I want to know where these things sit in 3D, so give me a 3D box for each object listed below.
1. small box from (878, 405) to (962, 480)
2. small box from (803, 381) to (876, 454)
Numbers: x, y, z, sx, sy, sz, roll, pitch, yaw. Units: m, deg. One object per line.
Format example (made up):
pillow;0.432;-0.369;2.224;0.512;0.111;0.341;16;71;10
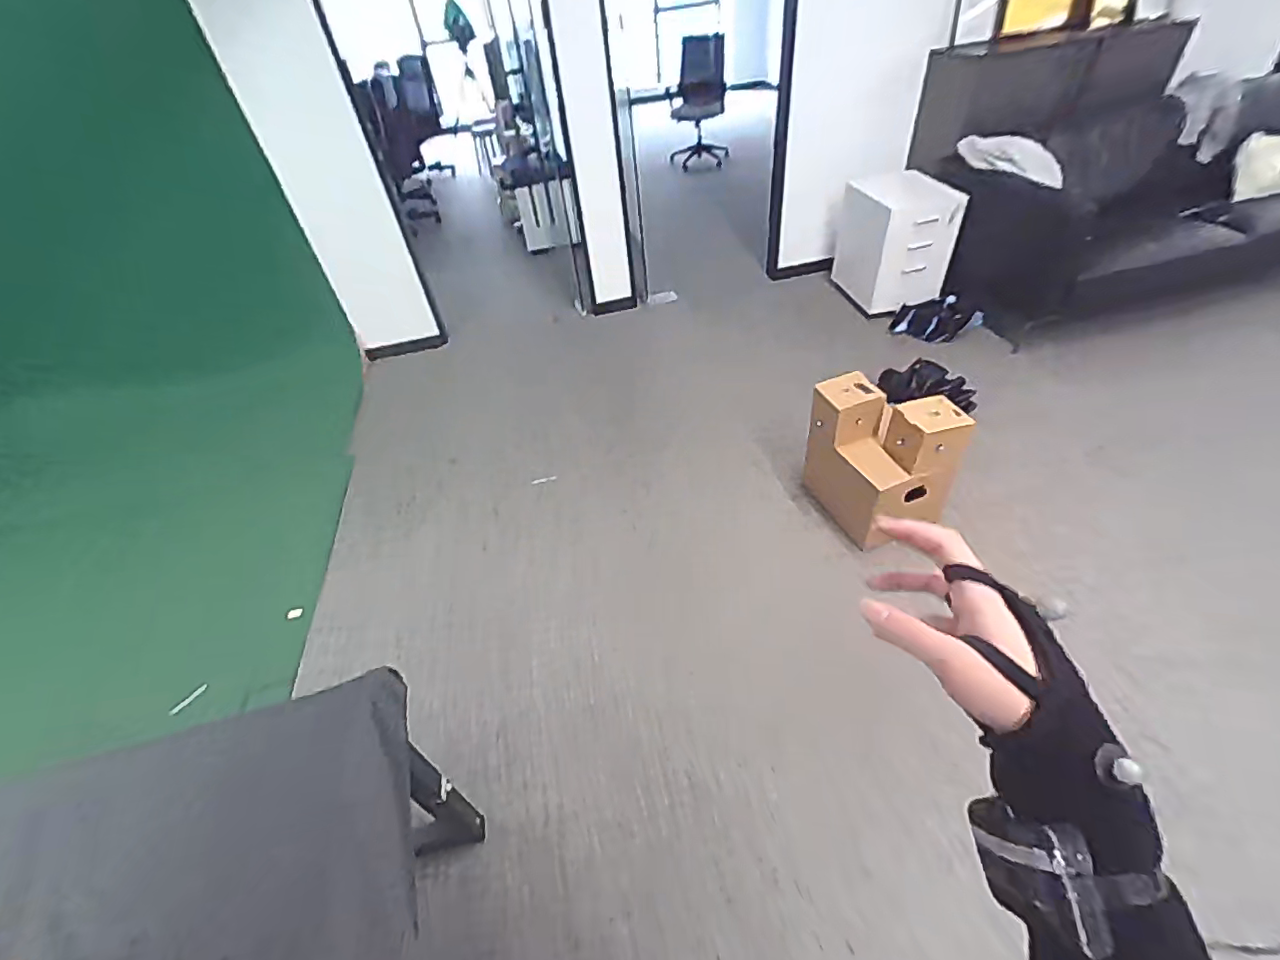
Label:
small box;0.901;-0.118;1.764;0.179;0.176;0.168;-12;42;-8
small box;0.692;-0.217;1.899;0.179;0.176;0.168;-17;43;-7
